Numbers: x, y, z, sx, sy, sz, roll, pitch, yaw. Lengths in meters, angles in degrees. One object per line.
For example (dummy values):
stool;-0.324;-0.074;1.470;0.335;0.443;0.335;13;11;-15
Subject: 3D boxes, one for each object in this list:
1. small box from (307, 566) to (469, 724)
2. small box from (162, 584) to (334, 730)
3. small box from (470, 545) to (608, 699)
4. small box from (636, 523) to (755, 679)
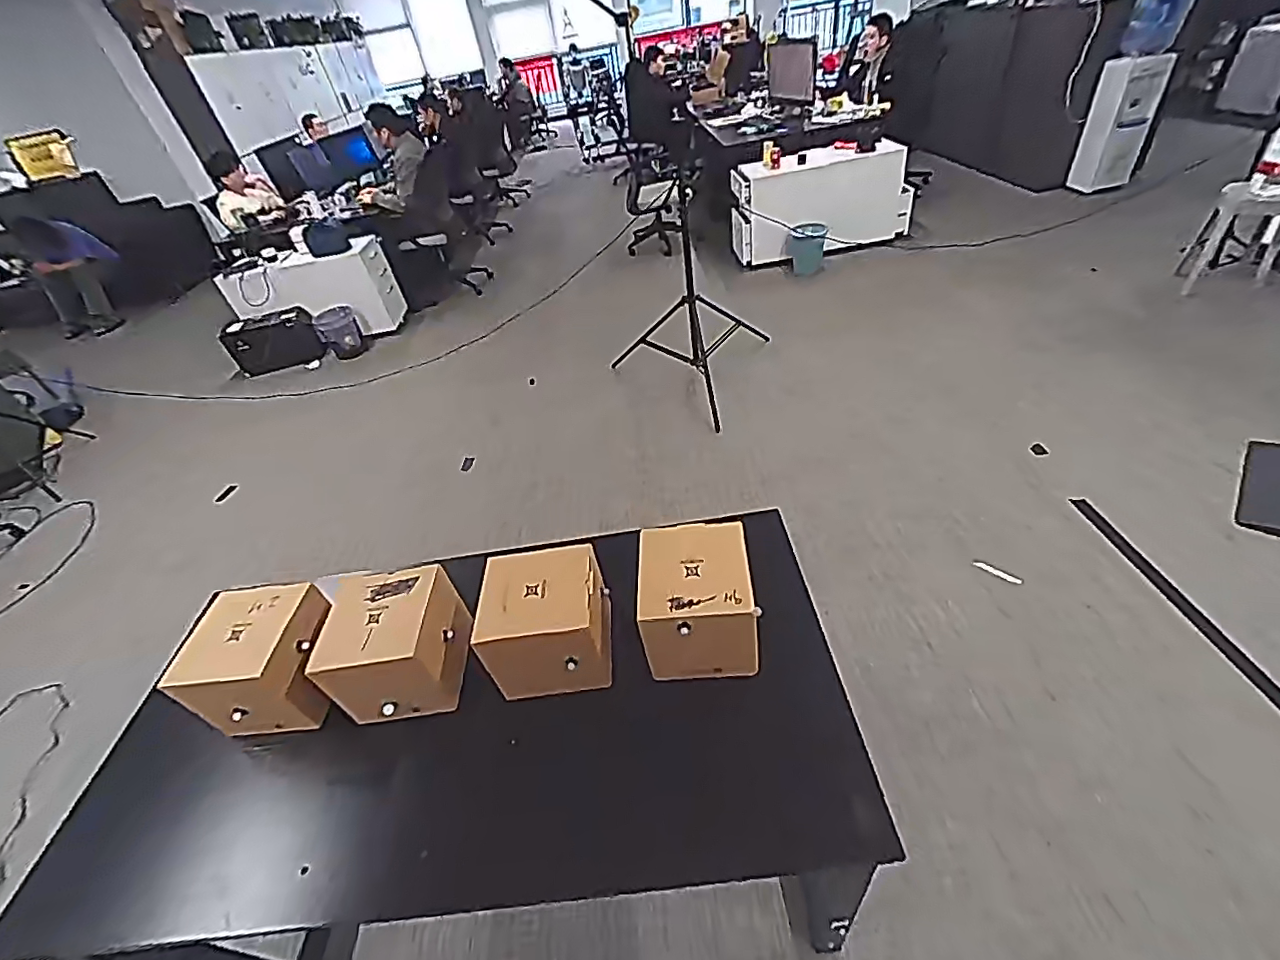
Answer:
small box;-0.394;0.270;0.886;0.168;0.176;0.179;-9;42;2
small box;-0.615;0.301;0.903;0.168;0.176;0.179;-6;40;5
small box;-0.148;0.231;0.875;0.179;0.176;0.168;-10;39;4
small box;0.089;0.192;0.859;0.168;0.176;0.179;-6;40;8
